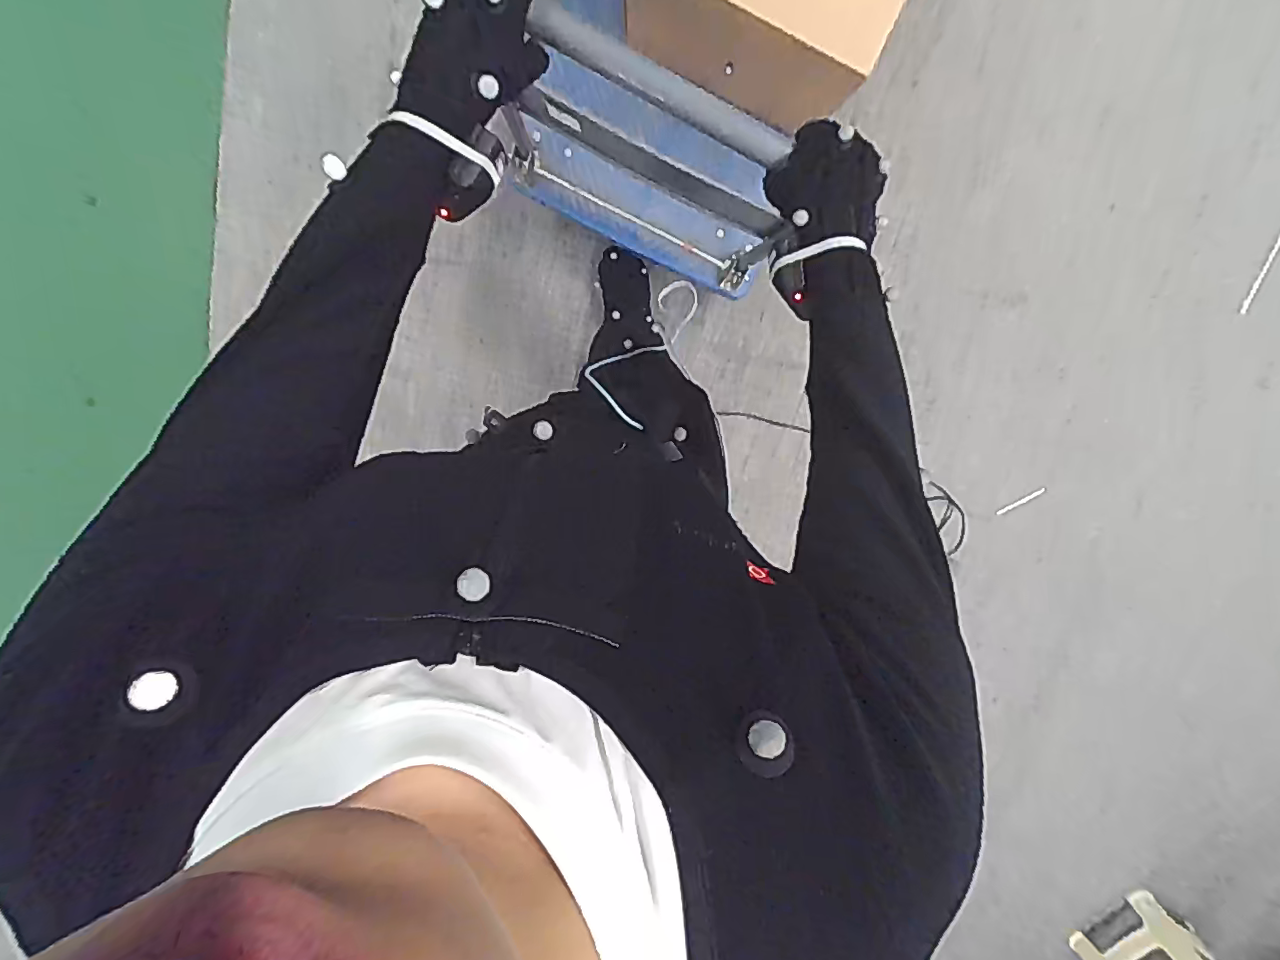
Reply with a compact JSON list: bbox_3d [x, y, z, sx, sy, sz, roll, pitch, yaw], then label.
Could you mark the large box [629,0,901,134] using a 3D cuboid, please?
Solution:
[{"bbox_3d":[0.223,-0.865,0.903,0.408,0.320,0.320,23,105,-6],"label":"large box"}]
